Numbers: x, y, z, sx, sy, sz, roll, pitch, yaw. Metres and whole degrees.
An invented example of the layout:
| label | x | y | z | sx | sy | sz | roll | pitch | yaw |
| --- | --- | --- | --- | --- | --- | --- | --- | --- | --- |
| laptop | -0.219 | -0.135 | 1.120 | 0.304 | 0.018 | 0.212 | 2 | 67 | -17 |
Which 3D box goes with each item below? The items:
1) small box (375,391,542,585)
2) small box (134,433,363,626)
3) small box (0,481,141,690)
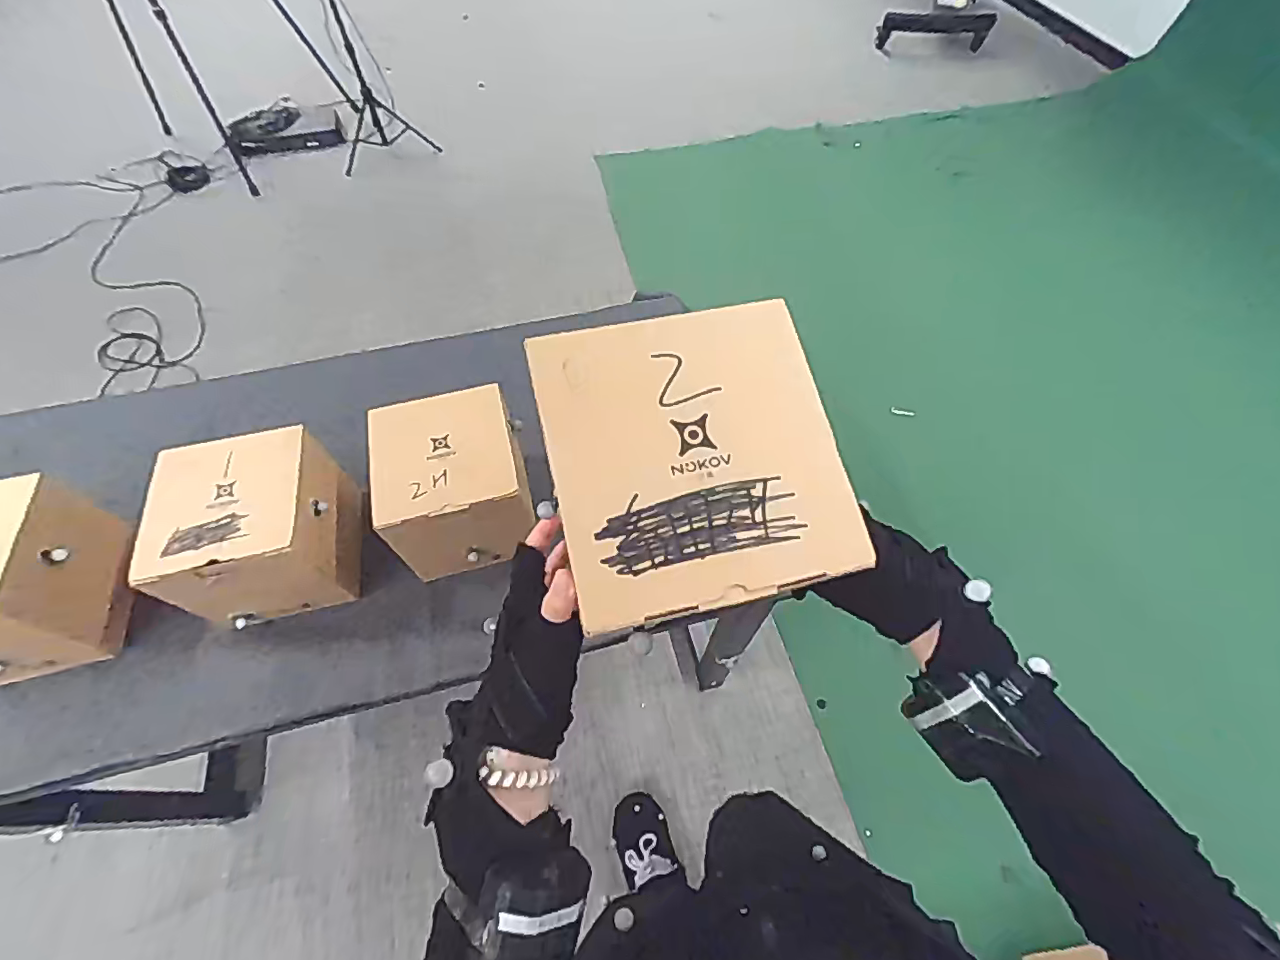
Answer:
| label | x | y | z | sx | sy | sz | roll | pitch | yaw |
| --- | --- | --- | --- | --- | --- | --- | --- | --- | --- |
| small box | -0.234 | 0.014 | 0.716 | 0.168 | 0.176 | 0.179 | -14 | 59 | -8 |
| small box | -0.468 | 0.071 | 0.681 | 0.168 | 0.176 | 0.179 | -12 | 58 | -8 |
| small box | -0.747 | 0.131 | 0.642 | 0.168 | 0.176 | 0.179 | -13 | 58 | -9 |
